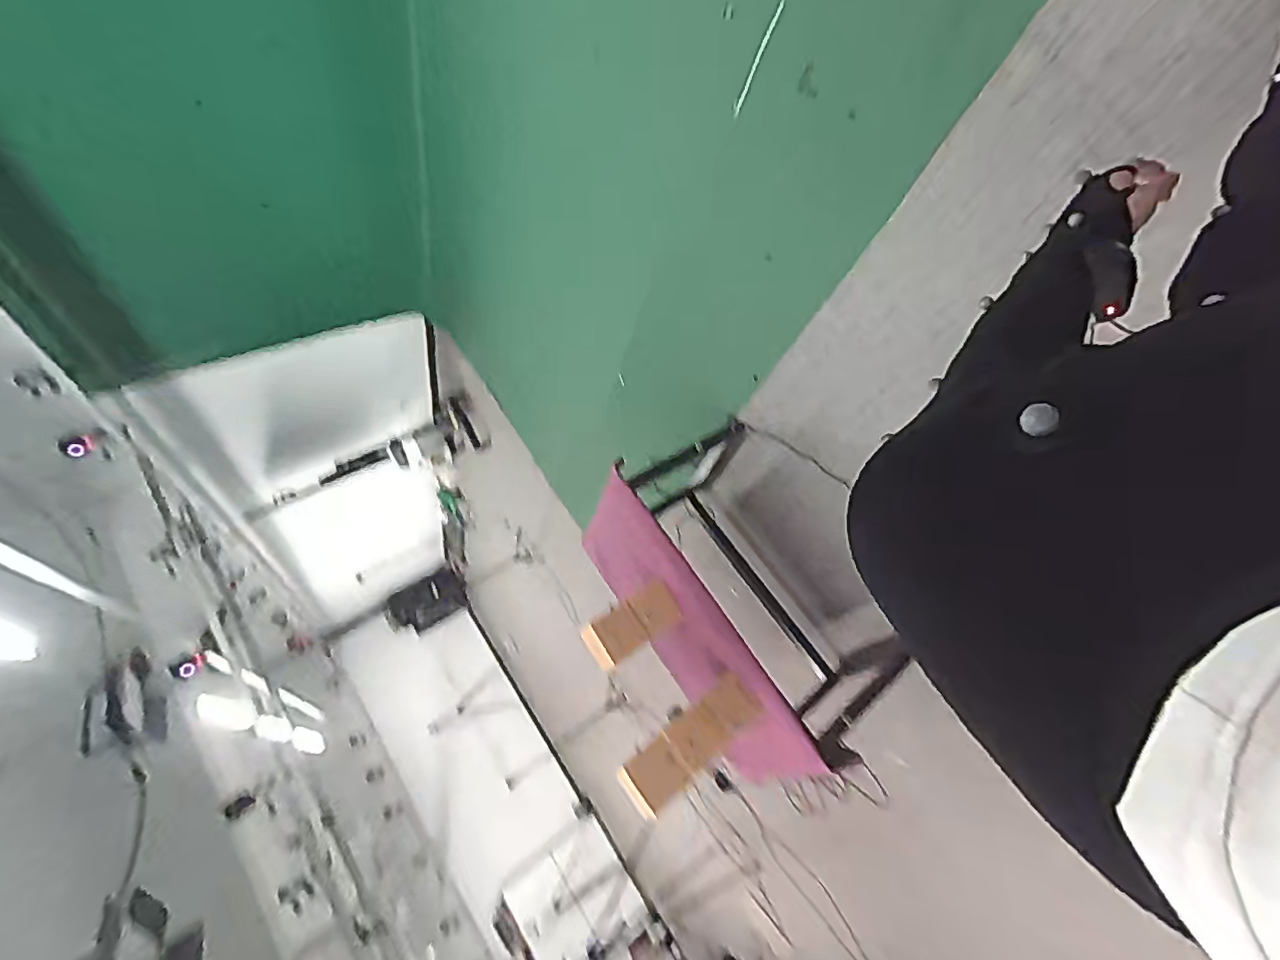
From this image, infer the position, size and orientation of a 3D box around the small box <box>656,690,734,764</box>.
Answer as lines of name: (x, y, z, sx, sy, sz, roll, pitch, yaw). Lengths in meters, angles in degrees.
small box: (0.186, 0.841, 1.836, 0.179, 0.176, 0.168, 49, 150, 20)

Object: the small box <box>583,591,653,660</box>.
small box: (-0.080, 0.538, 1.997, 0.179, 0.176, 0.168, 57, 150, 9)

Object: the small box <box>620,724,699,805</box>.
small box: (0.062, 0.926, 1.769, 0.179, 0.176, 0.168, 50, 151, 19)

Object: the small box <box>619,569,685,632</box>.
small box: (0.043, 0.470, 2.079, 0.179, 0.176, 0.168, 58, 151, 8)
